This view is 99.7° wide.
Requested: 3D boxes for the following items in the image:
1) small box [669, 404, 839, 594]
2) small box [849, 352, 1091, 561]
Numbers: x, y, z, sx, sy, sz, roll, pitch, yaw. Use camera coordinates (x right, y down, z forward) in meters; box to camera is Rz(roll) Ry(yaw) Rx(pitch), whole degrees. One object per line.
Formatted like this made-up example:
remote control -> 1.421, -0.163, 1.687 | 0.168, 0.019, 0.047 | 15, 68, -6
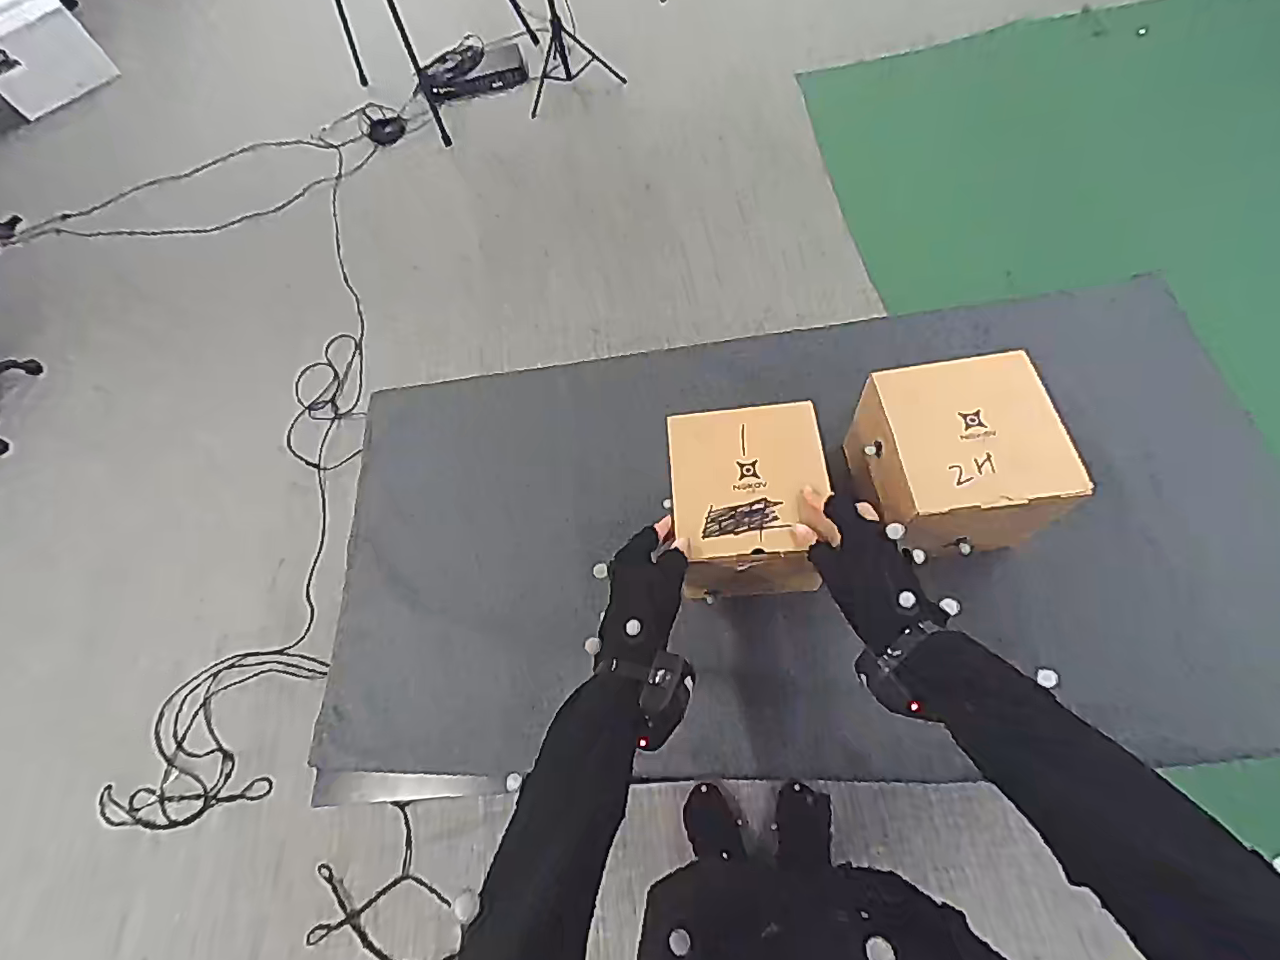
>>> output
small box -> 0.128, 0.034, 0.648 | 0.168, 0.176, 0.179 | -6, 63, 7
small box -> 0.358, -0.019, 0.633 | 0.168, 0.176, 0.179 | -8, 64, 7
